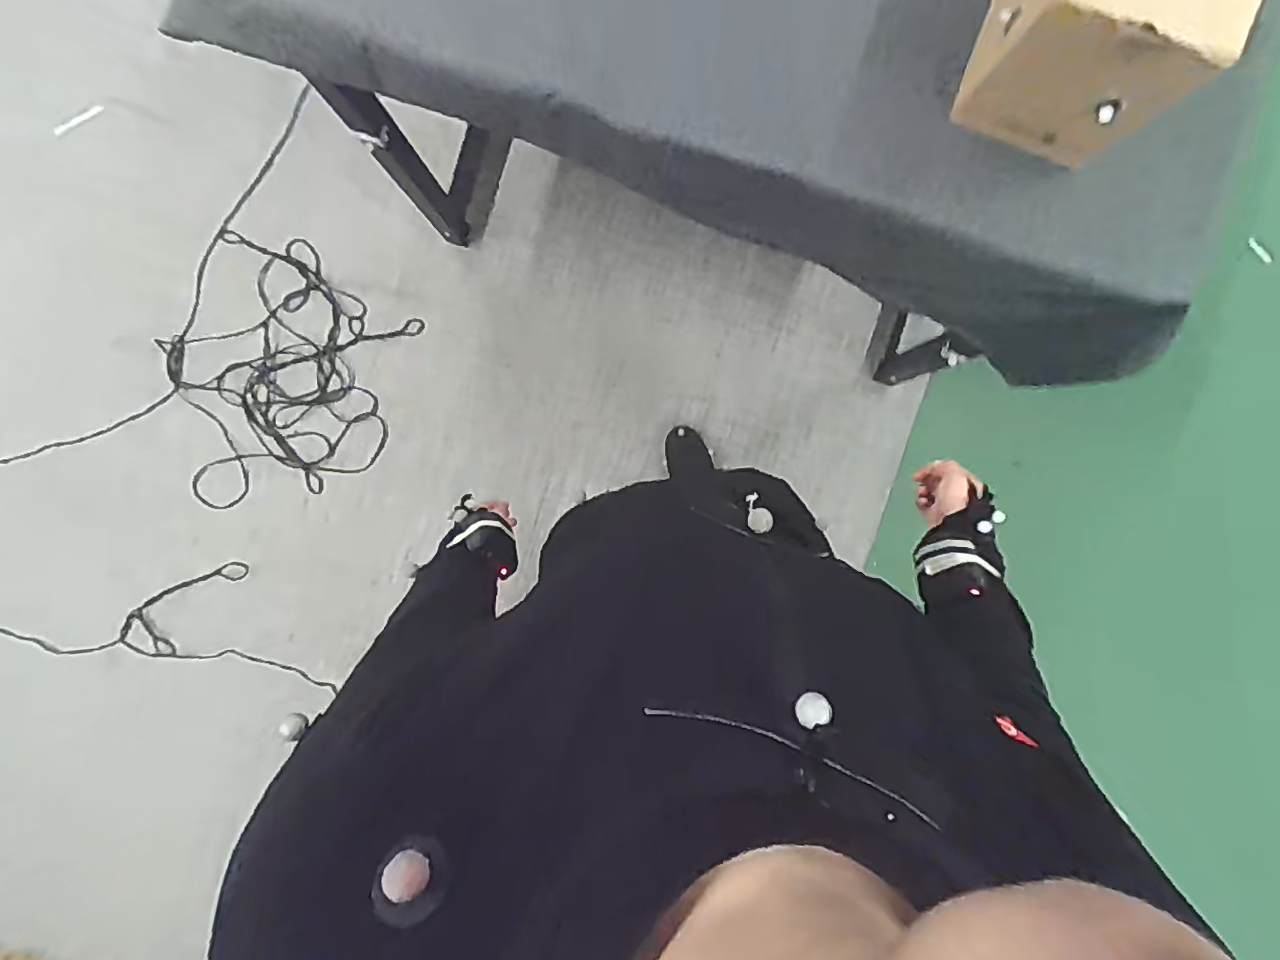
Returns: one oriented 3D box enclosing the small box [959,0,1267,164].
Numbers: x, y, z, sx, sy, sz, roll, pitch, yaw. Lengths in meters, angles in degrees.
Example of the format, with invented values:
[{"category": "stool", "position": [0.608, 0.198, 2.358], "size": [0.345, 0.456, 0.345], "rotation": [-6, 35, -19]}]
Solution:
[{"category": "small box", "position": [0.454, -0.455, 0.530], "size": [0.168, 0.176, 0.179], "rotation": [20, 89, -2]}]
